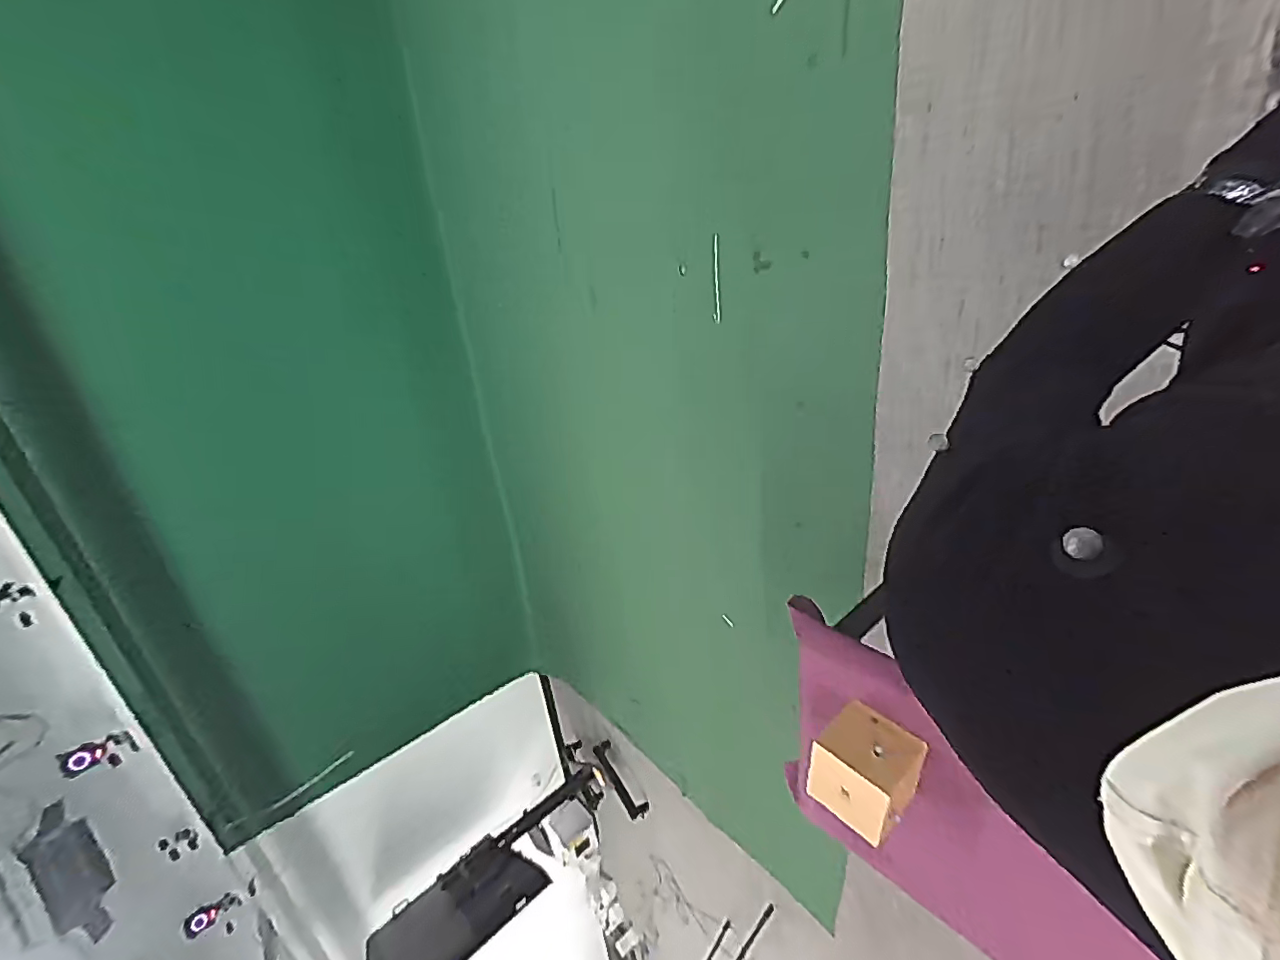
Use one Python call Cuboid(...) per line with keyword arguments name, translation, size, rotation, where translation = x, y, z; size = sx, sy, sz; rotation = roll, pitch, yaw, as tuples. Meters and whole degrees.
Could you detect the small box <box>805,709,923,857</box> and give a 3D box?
Cuboid(name="small box", translation=(0.473, 0.628, 1.143), size=(0.168, 0.176, 0.179), rotation=(25, 129, 42))
